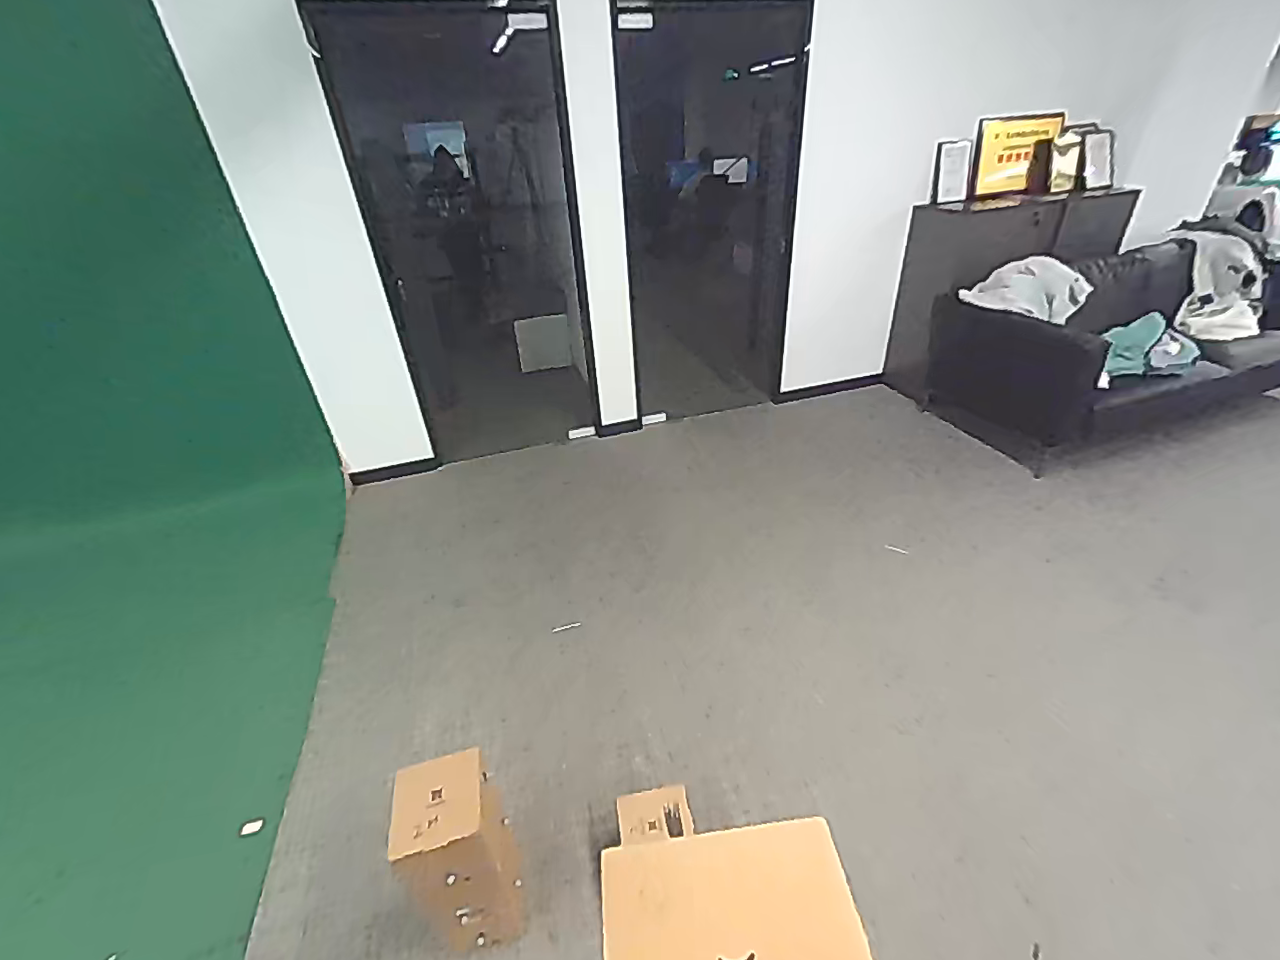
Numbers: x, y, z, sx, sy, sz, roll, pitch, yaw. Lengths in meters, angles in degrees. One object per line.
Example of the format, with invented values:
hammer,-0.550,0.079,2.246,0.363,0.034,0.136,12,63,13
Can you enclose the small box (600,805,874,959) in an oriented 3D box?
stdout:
small box,0.066,0.359,0.362,0.168,0.176,0.179,-9,34,0

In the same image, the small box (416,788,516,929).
small box,-0.370,0.814,1.167,0.168,0.176,0.179,-13,34,-11

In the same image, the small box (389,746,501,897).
small box,-0.378,0.676,1.076,0.168,0.176,0.179,-13,33,-10

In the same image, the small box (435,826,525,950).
small box,-0.363,0.950,1.255,0.168,0.176,0.179,-10,34,-8
